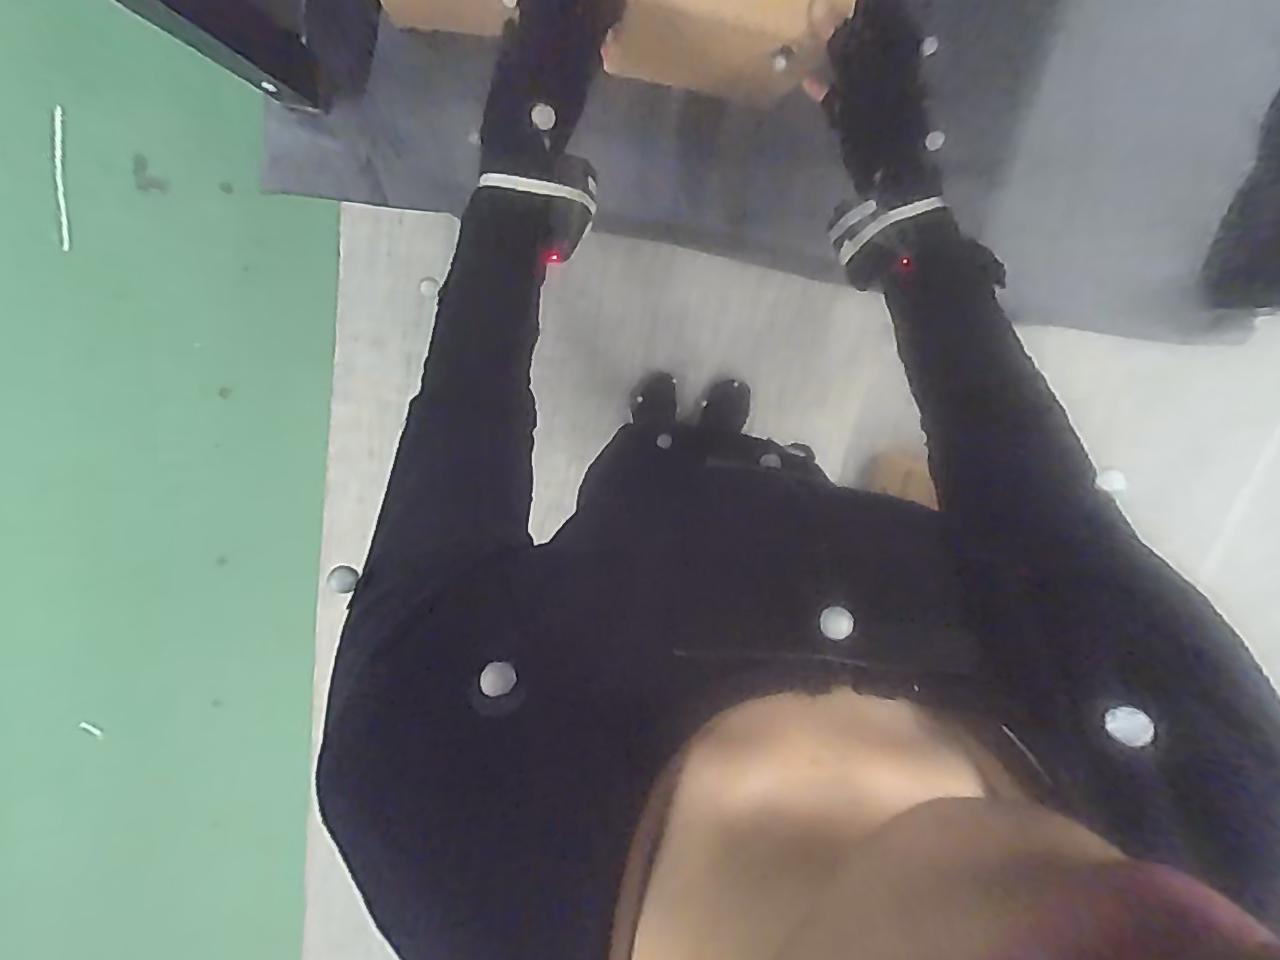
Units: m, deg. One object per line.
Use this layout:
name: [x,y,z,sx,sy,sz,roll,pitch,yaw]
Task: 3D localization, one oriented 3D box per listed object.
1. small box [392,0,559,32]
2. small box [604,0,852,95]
small box: [-0.169,-0.545,0.488,0.179,0.176,0.168,5,107,-2]
small box: [0.068,-0.436,0.432,0.179,0.176,0.168,5,112,-10]
